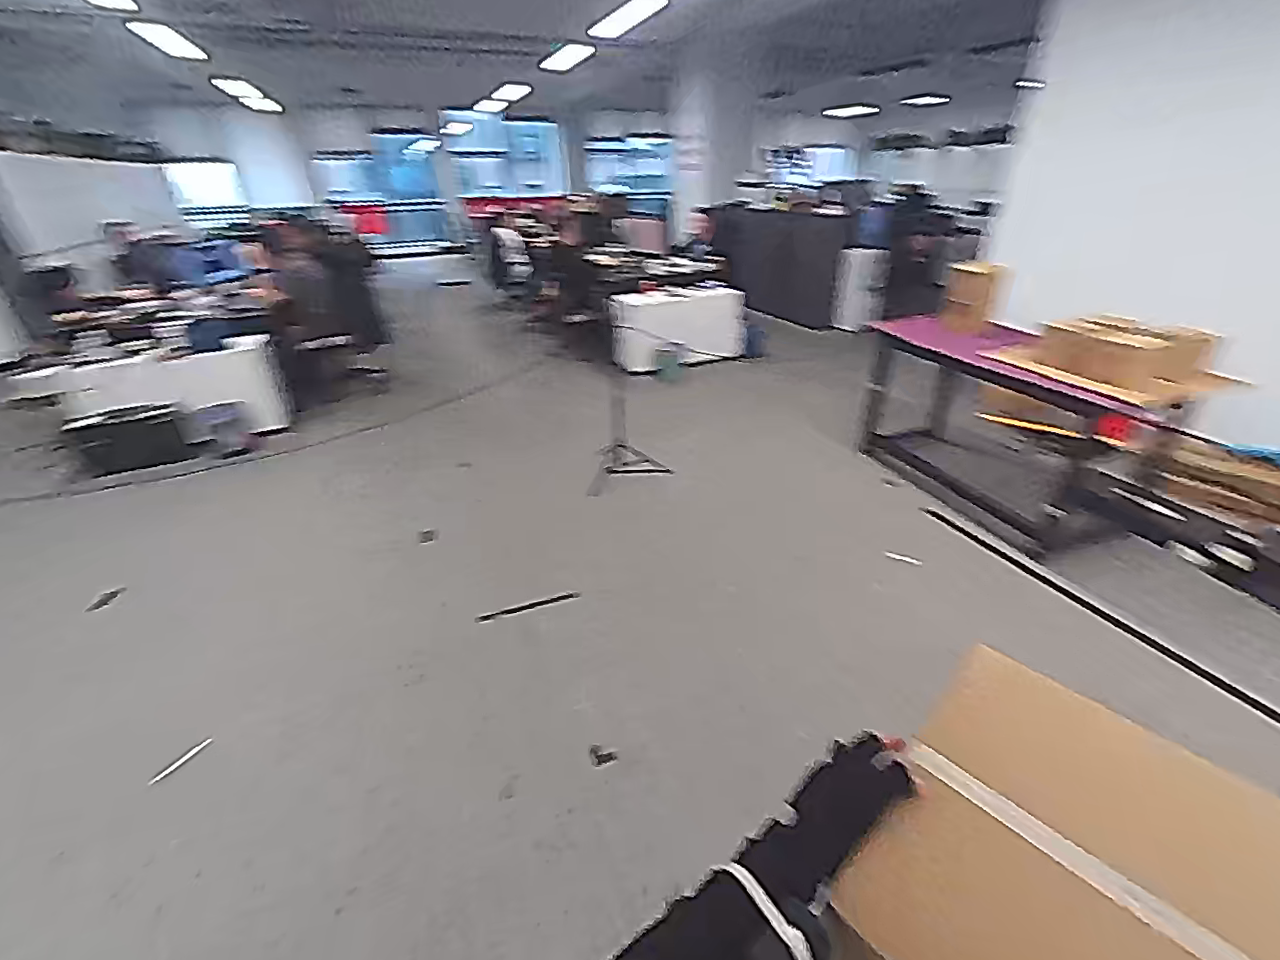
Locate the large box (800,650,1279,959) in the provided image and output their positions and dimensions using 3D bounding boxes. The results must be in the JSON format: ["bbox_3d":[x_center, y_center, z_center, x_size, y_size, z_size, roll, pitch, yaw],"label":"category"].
[{"bbox_3d":[0.409,0.447,0.488,0.408,0.320,0.320,29,51,35],"label":"large box"}]
